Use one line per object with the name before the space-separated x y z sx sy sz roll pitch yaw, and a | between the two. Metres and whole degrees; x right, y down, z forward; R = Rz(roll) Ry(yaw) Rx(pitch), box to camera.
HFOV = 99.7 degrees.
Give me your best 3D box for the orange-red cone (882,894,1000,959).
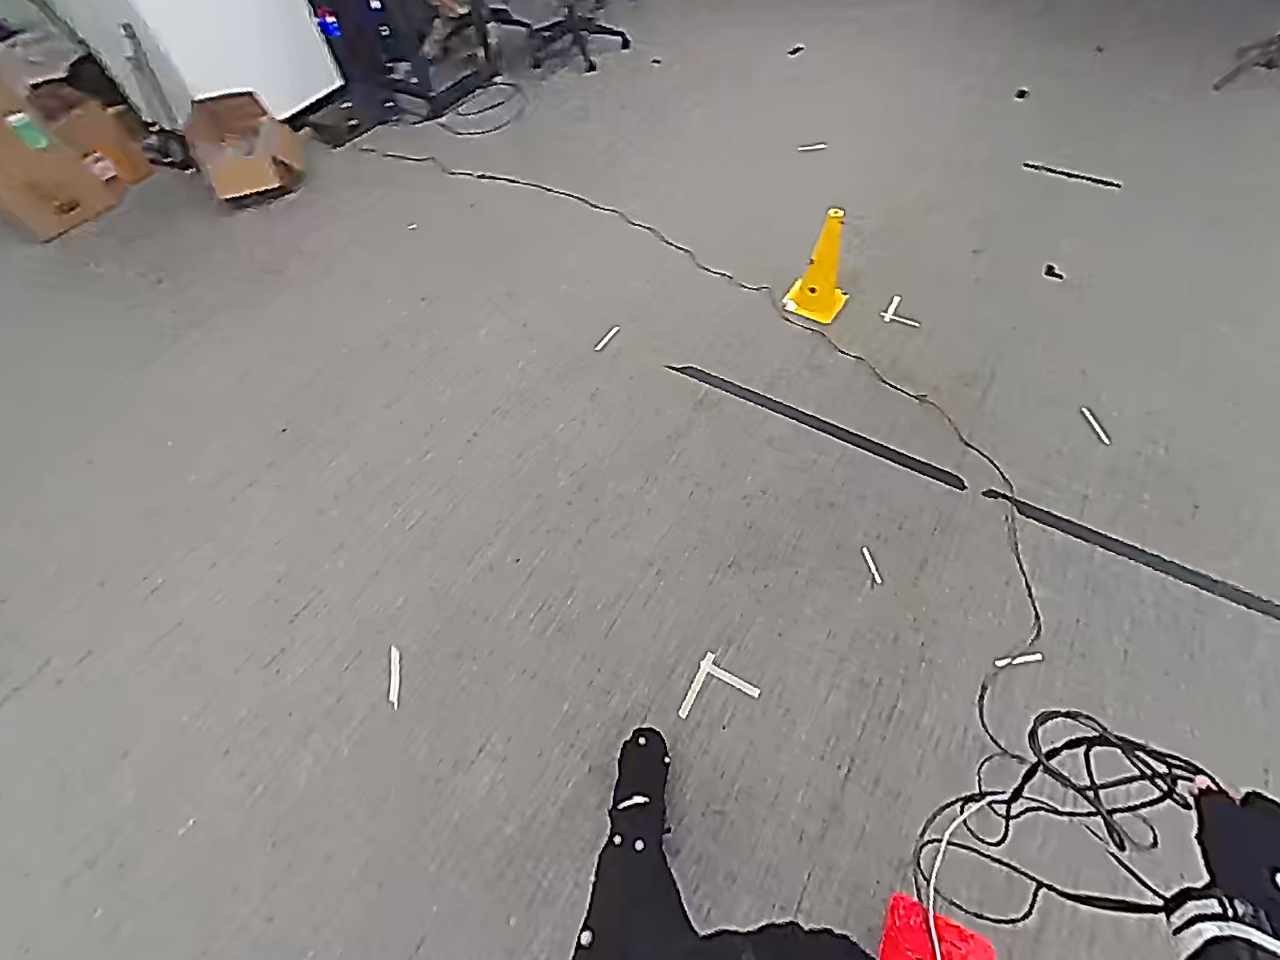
orange-red cone | 0.556 0.850 0.882 0.199 0.360 0.198 23 62 16
